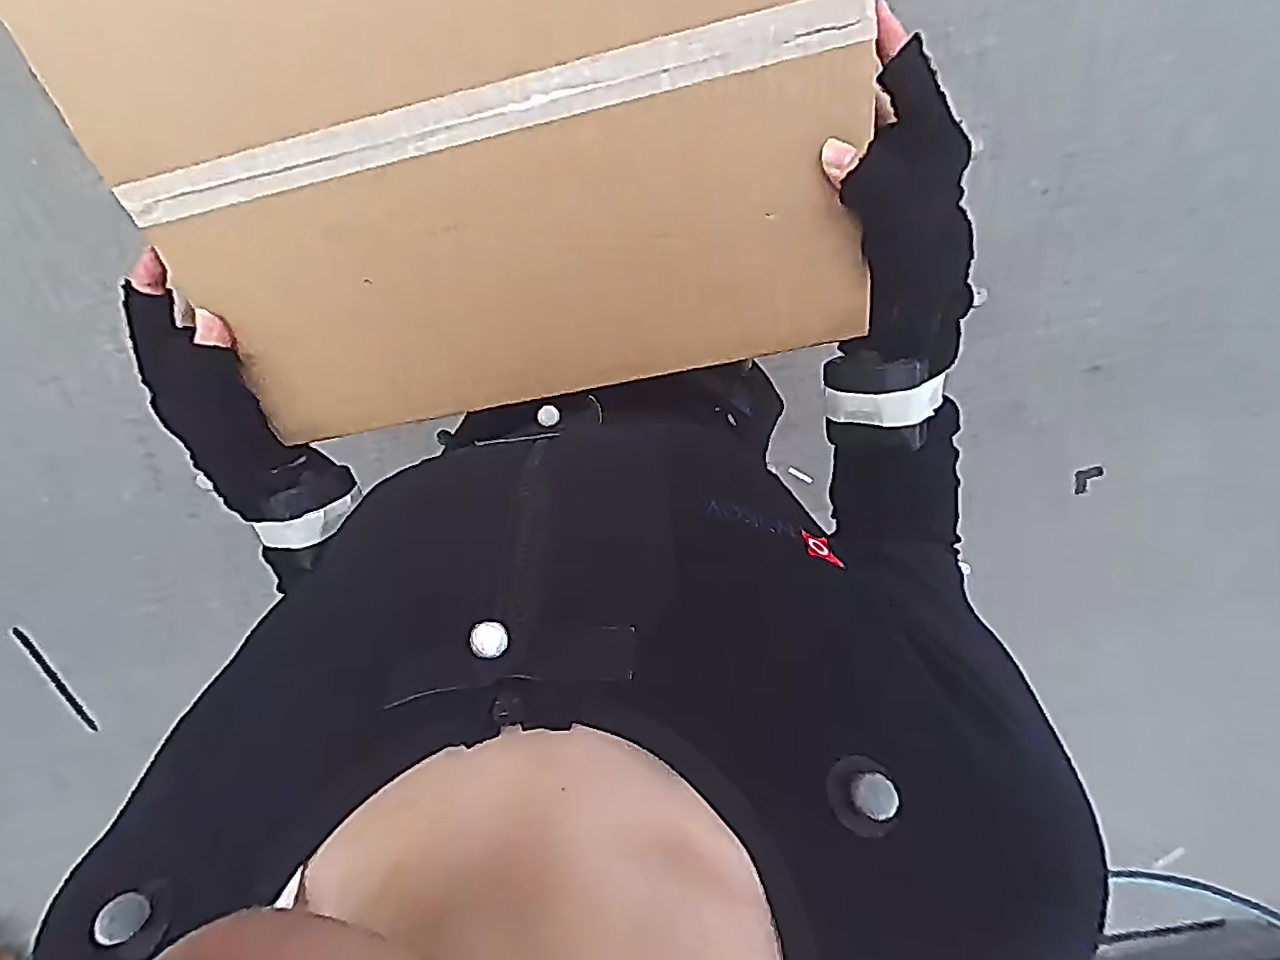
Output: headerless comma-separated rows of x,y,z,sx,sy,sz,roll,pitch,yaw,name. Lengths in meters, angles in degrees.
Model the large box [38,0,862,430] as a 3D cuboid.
-0.084,-0.274,0.415,0.408,0.320,0.320,-9,123,7,large box
